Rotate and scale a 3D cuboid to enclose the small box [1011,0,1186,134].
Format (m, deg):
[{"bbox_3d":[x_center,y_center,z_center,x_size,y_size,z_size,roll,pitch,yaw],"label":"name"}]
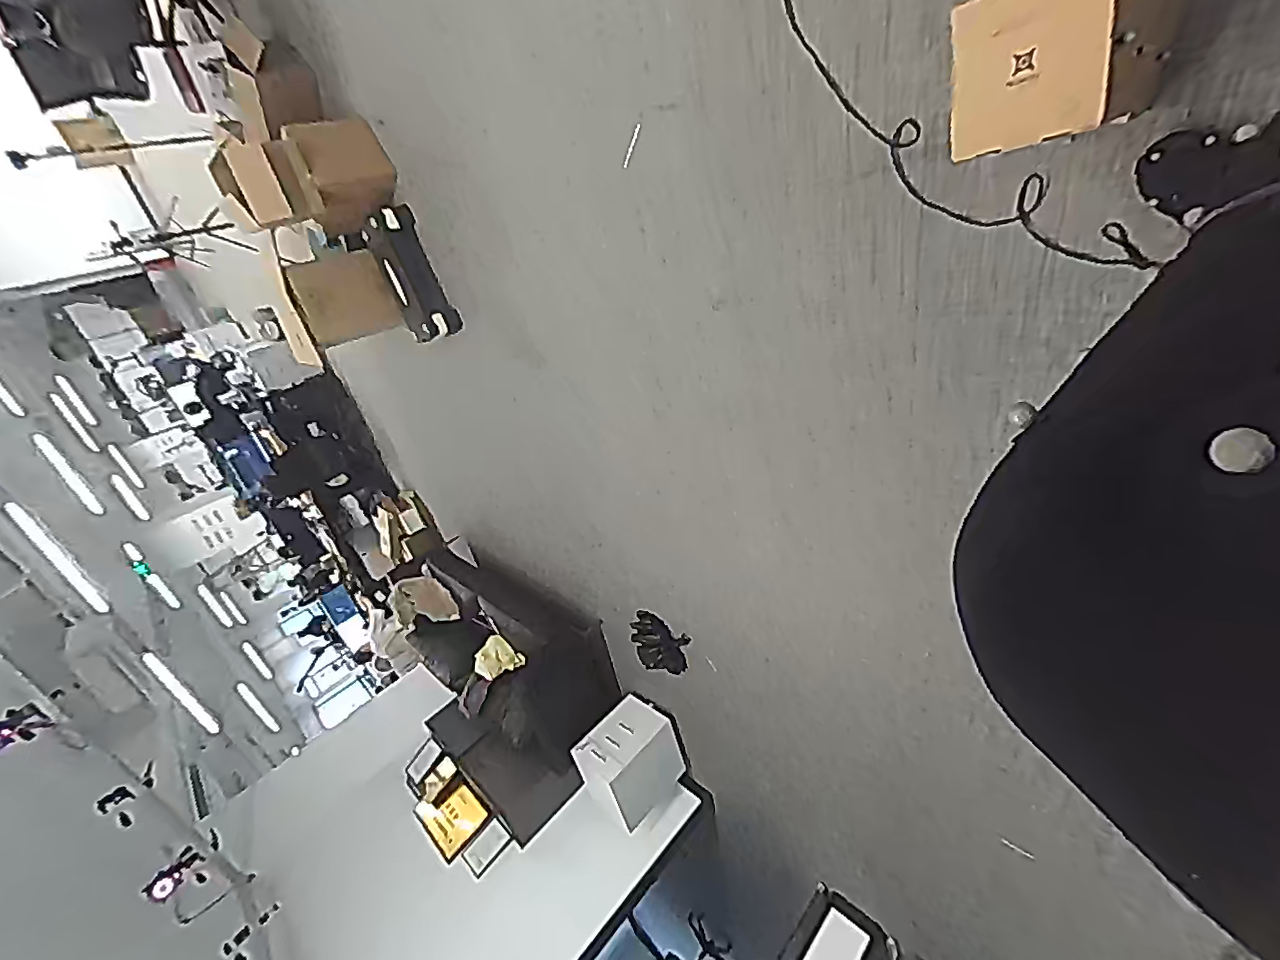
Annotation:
[{"bbox_3d":[0.749,-0.682,0.887,0.168,0.176,0.179,26,137,38],"label":"small box"}]
